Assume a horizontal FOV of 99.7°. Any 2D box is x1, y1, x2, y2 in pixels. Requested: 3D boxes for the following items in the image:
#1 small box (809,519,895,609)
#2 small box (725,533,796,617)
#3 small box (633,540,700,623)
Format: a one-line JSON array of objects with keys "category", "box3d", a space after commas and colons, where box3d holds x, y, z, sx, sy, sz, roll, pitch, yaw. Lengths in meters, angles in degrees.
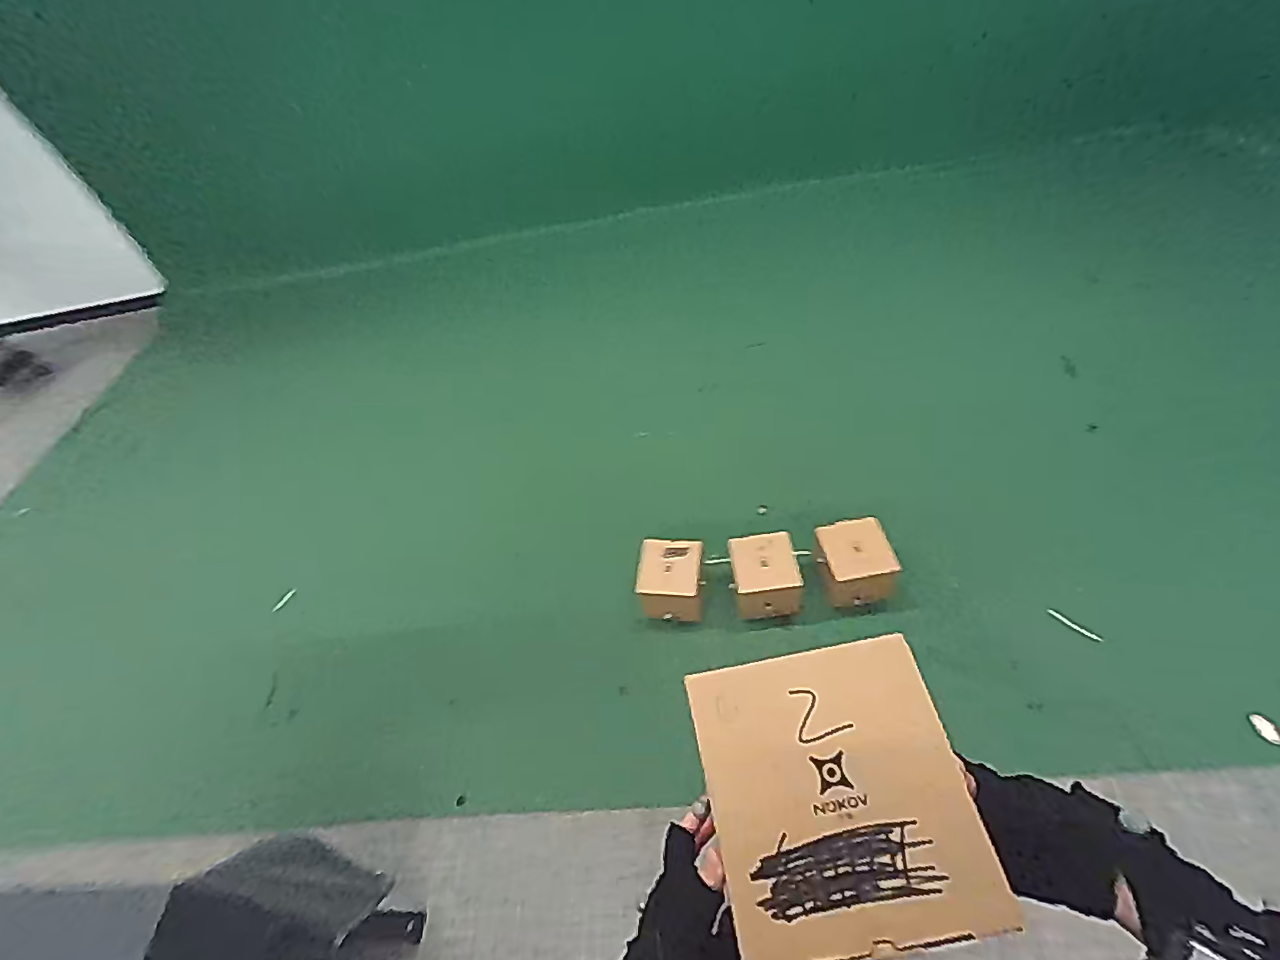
[{"category": "small box", "box3d": [0.583, 0.237, 1.517, 0.168, 0.176, 0.179, -11, 49, 2]}, {"category": "small box", "box3d": [0.339, 0.276, 1.531, 0.168, 0.176, 0.179, -8, 49, 4]}, {"category": "small box", "box3d": [0.084, 0.295, 1.569, 0.168, 0.176, 0.179, 1, 52, 13]}]
